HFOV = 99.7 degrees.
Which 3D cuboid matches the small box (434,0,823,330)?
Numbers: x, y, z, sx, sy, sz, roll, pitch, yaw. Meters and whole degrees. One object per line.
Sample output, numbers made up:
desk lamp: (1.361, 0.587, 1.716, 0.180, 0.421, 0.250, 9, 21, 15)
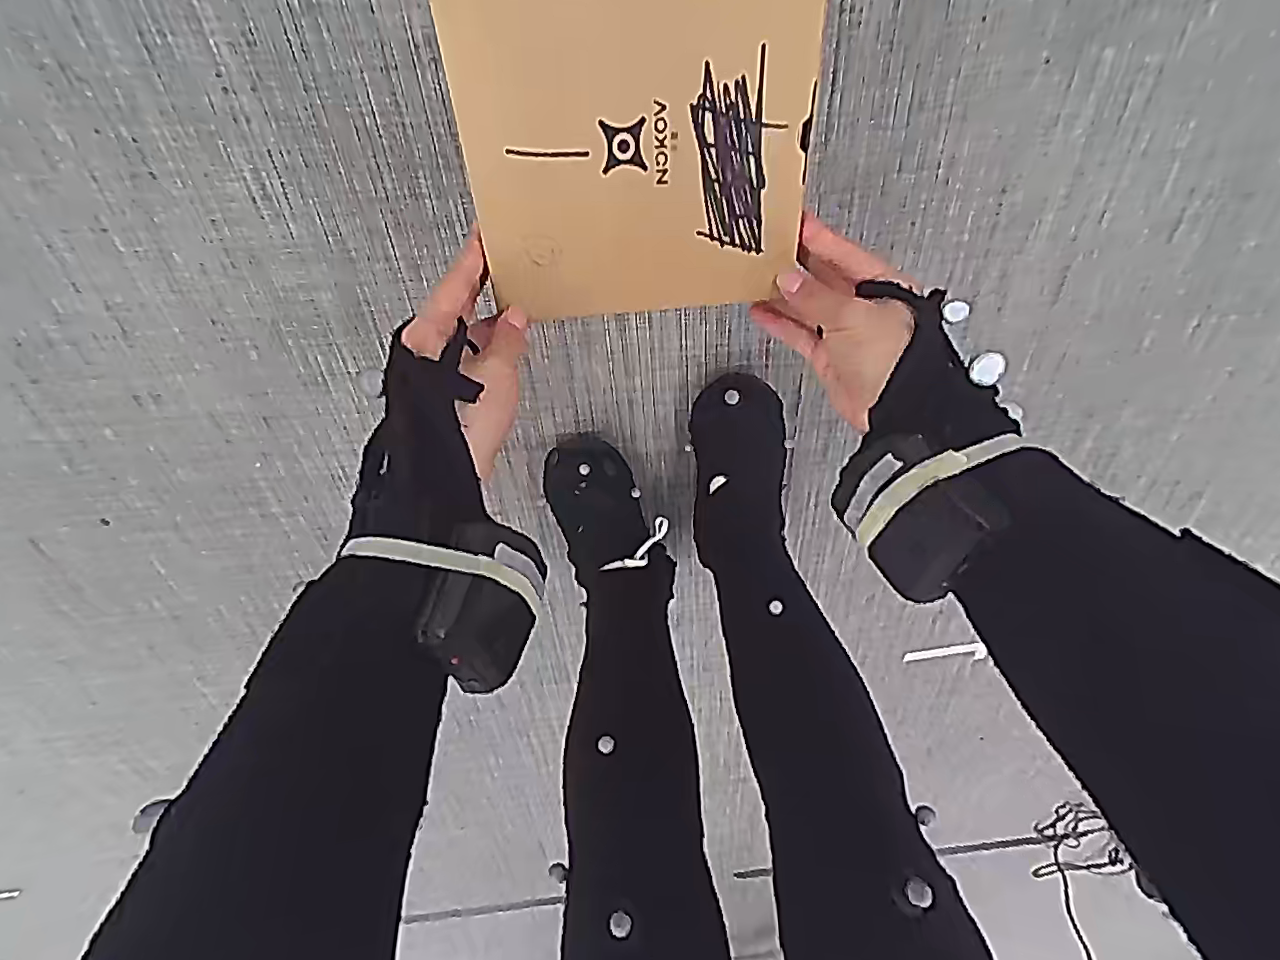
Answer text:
small box: (-0.009, -0.211, 0.342, 0.179, 0.176, 0.168, -6, 128, -2)
